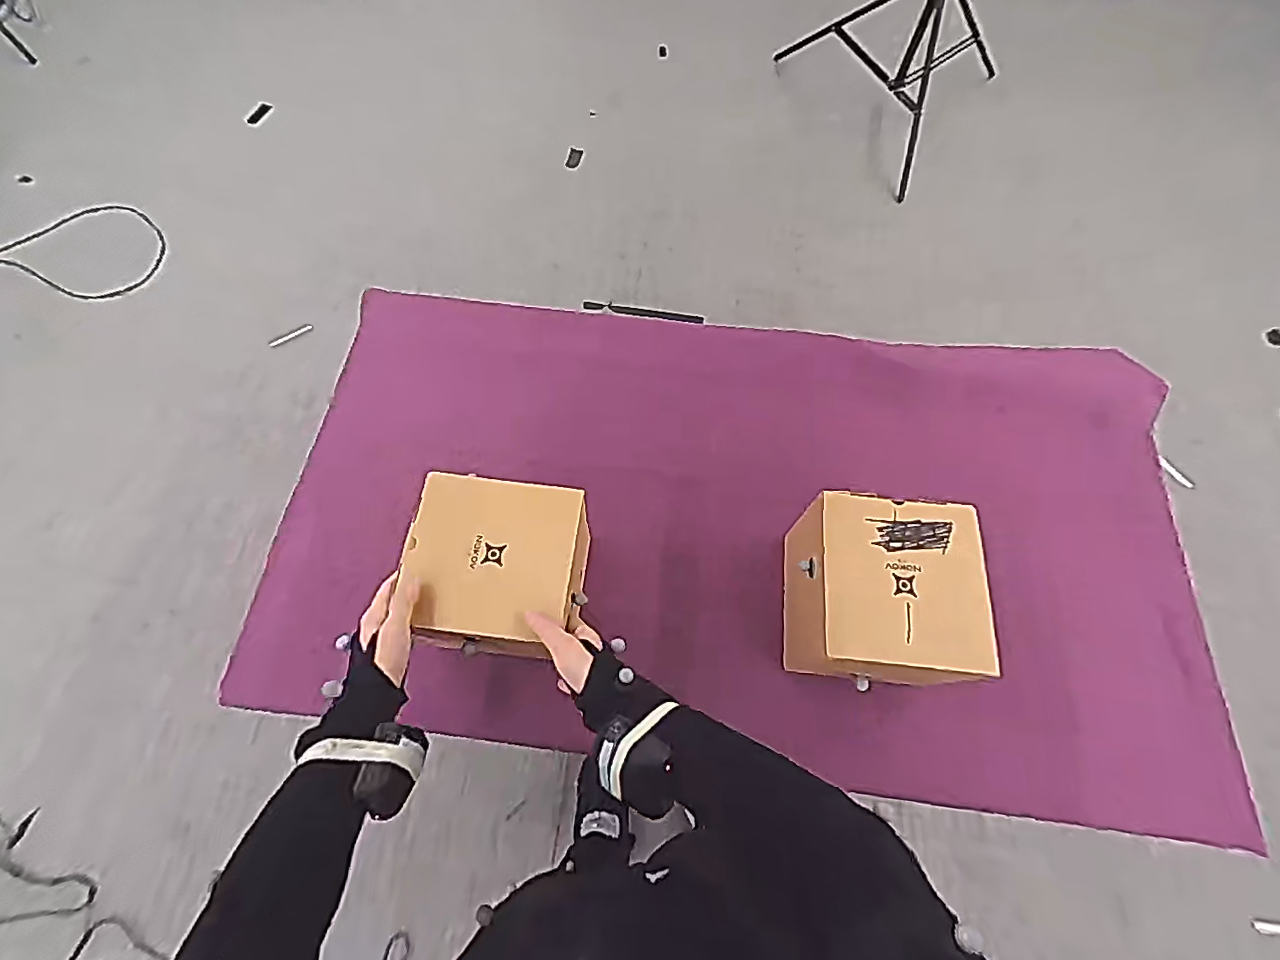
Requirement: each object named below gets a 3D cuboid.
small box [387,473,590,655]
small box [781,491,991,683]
[{"bbox_3d":[-0.157,0.107,0.634,0.179,0.176,0.168,6,67,1],"label":"small box"},{"bbox_3d":[0.264,0.131,0.626,0.168,0.176,0.179,6,67,3],"label":"small box"}]
